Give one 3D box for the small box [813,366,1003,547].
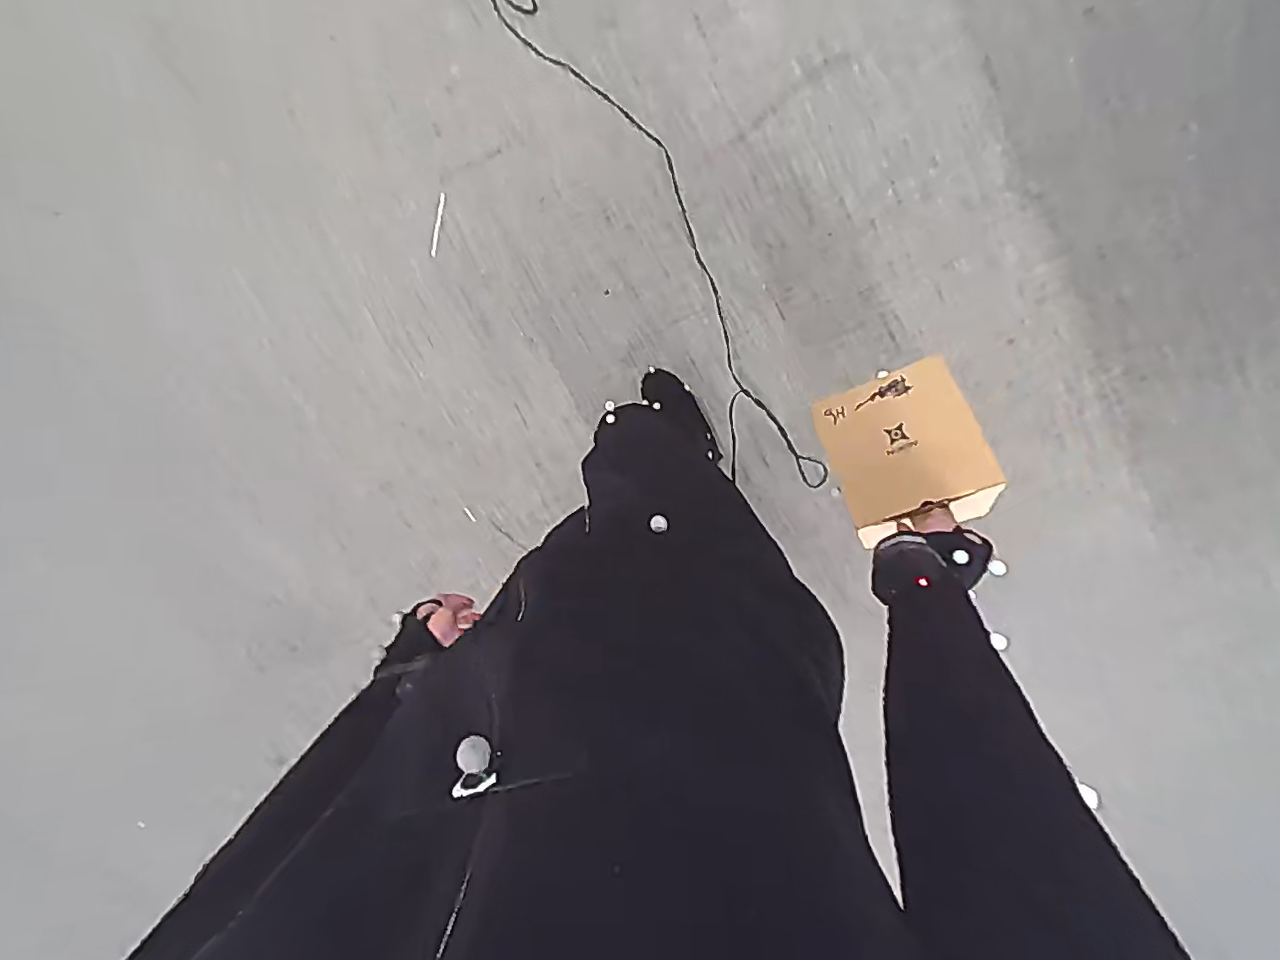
[{"bbox_3d":[0.350,-0.016,0.721,0.168,0.176,0.179,-21,68,20],"label":"small box"}]
